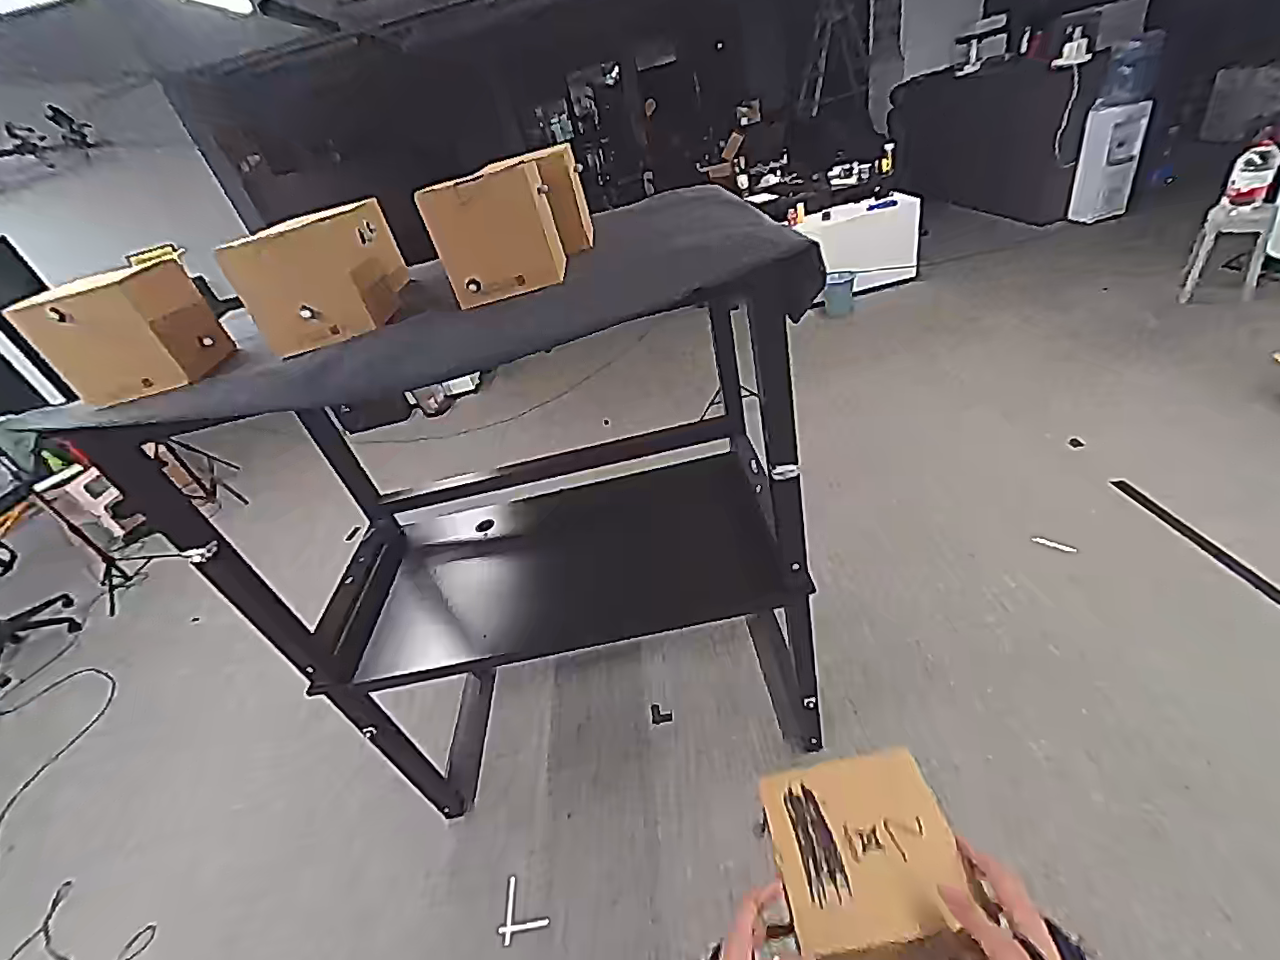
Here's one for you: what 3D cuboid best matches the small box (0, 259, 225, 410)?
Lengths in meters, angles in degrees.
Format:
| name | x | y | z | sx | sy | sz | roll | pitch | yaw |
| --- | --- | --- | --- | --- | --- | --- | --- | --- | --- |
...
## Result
| name | x | y | z | sx | sy | sz | roll | pitch | yaw |
| --- | --- | --- | --- | --- | --- | --- | --- | --- | --- |
| small box | -0.826 | -0.236 | 0.875 | 0.168 | 0.176 | 0.179 | -17 | 35 | -2 |

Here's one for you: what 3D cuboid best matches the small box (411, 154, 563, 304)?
| name | x | y | z | sx | sy | sz | roll | pitch | yaw |
| --- | --- | --- | --- | --- | --- | --- | --- | --- | --- |
| small box | -0.225 | -0.391 | 0.850 | 0.168 | 0.176 | 0.179 | -14 | 33 | 3 |

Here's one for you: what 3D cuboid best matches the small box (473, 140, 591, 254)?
| name | x | y | z | sx | sy | sz | roll | pitch | yaw |
| --- | --- | --- | --- | --- | --- | --- | --- | --- | --- |
| small box | -0.196 | -0.528 | 1.032 | 0.168 | 0.176 | 0.179 | -13 | 36 | 5 |
